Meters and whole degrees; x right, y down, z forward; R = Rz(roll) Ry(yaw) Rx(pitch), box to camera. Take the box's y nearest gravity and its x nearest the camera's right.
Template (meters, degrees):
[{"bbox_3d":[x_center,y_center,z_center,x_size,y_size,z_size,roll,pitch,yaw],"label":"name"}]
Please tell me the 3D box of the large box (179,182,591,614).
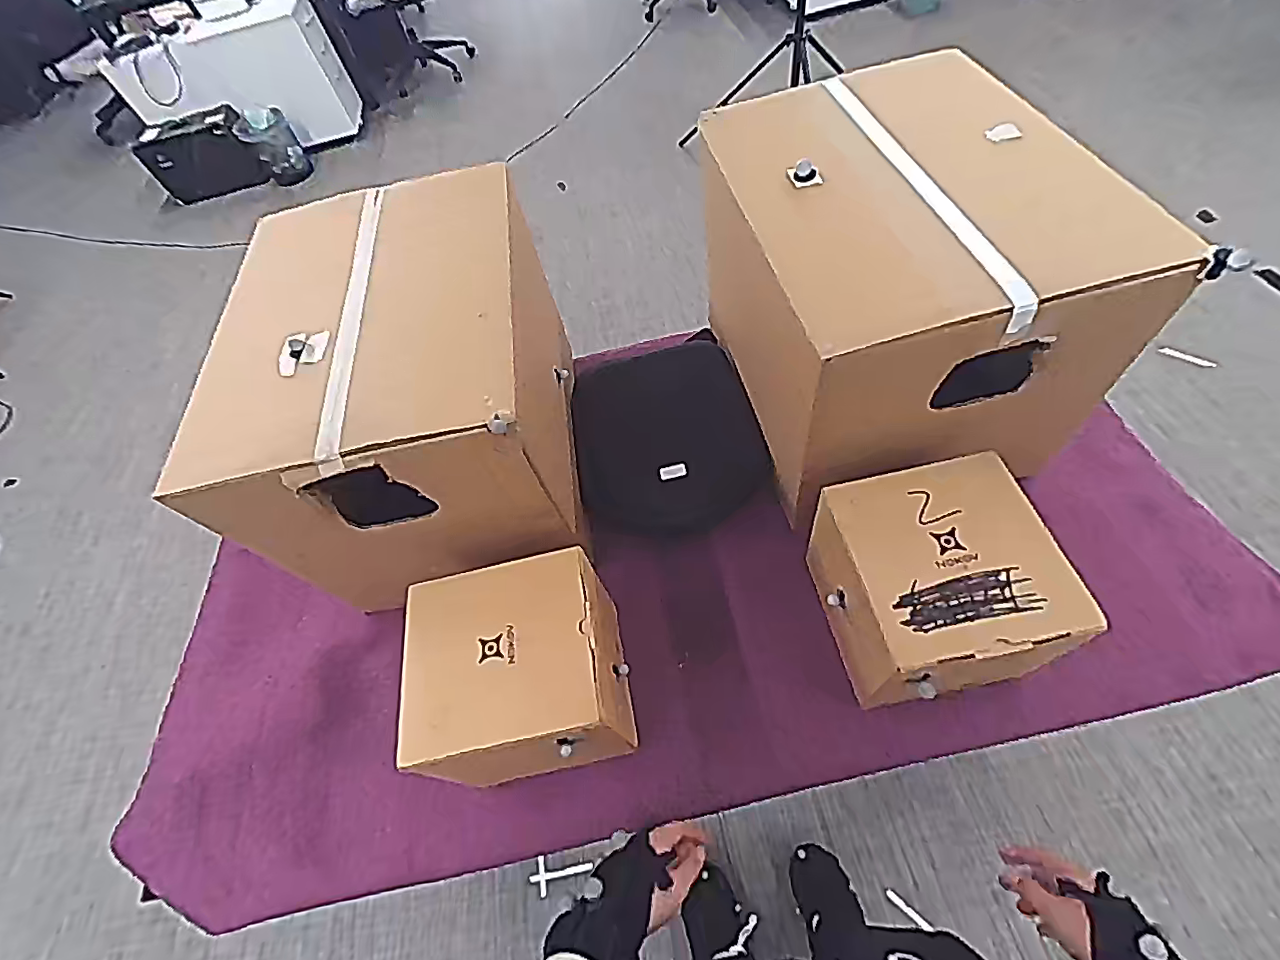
[{"bbox_3d":[-0.261,-0.091,0.685,0.320,0.320,0.408,-13,59,3],"label":"large box"}]
